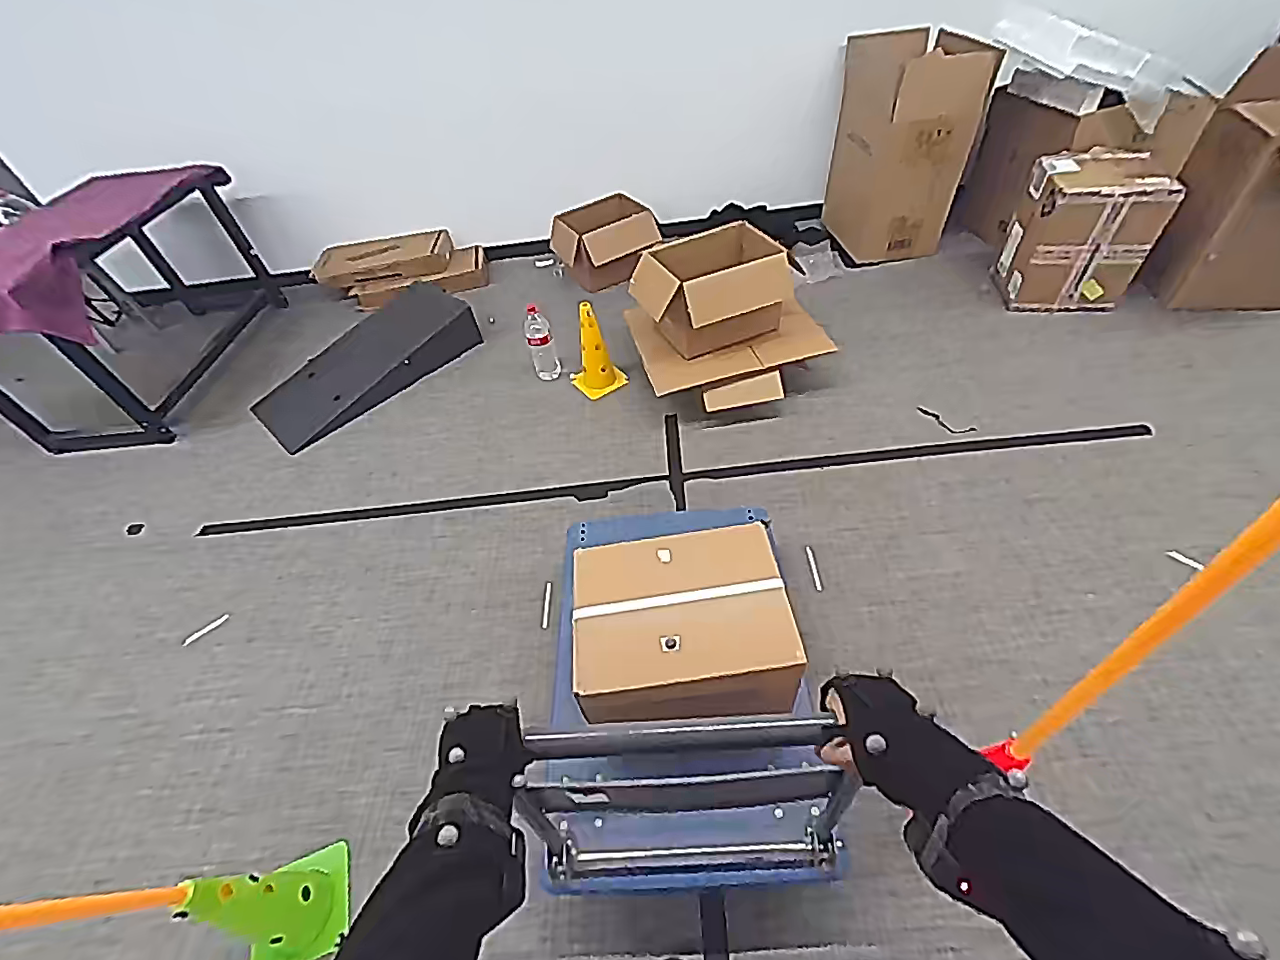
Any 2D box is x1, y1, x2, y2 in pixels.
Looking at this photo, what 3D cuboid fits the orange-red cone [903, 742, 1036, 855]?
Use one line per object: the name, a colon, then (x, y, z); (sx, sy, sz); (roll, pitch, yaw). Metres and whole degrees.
orange-red cone: (0.672, 0.578, 1.047); (0.199, 0.360, 0.198); (0, 49, 7)
